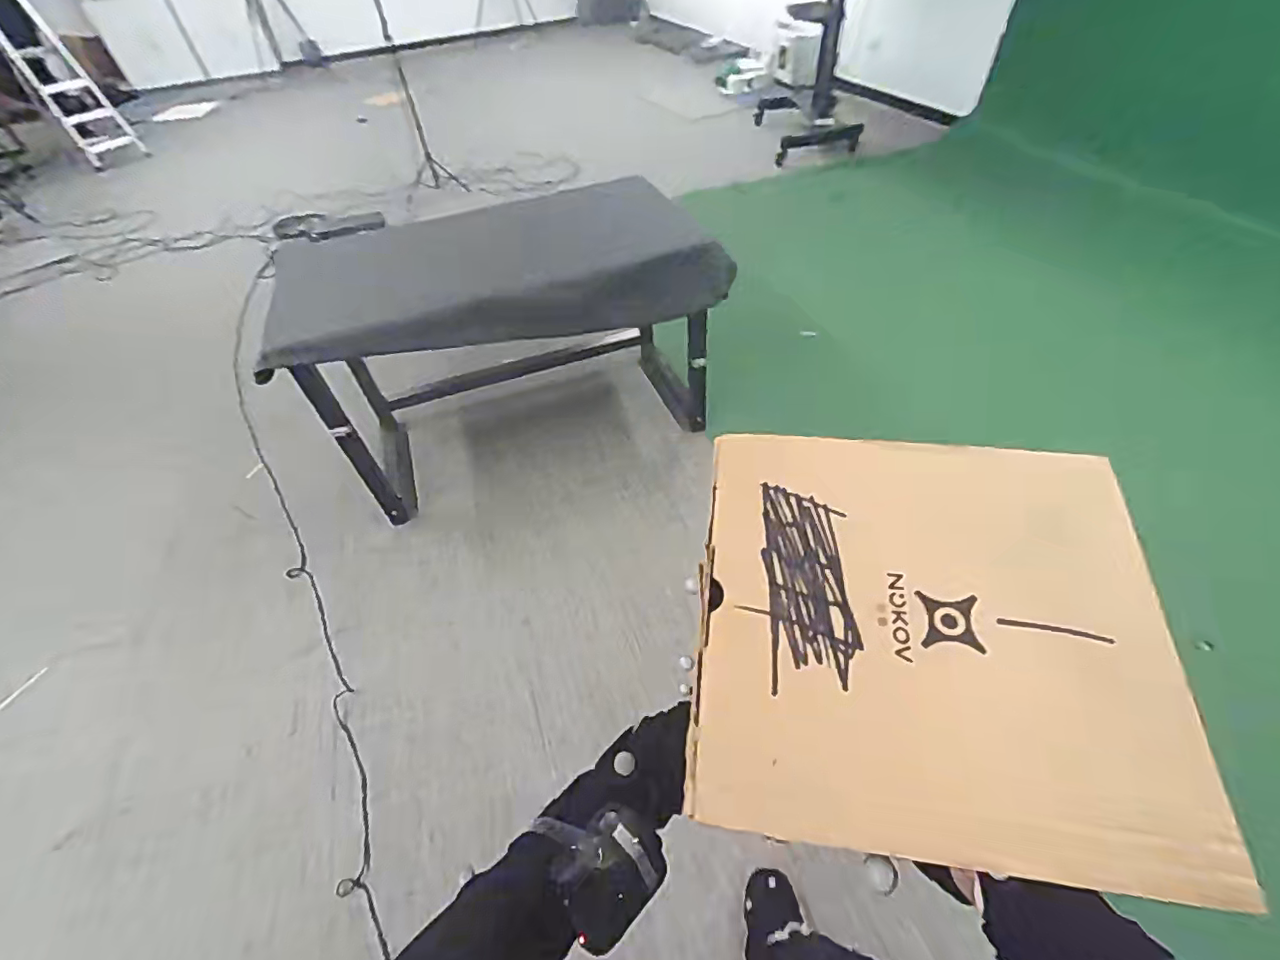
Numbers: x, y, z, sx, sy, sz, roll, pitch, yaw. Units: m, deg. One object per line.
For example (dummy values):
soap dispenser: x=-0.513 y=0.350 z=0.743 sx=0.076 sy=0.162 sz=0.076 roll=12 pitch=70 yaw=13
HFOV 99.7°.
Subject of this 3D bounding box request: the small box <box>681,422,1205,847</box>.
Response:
small box: x=0.118 y=0.086 z=0.297 sx=0.179 sy=0.176 sz=0.168 roll=4 pitch=60 yaw=7
